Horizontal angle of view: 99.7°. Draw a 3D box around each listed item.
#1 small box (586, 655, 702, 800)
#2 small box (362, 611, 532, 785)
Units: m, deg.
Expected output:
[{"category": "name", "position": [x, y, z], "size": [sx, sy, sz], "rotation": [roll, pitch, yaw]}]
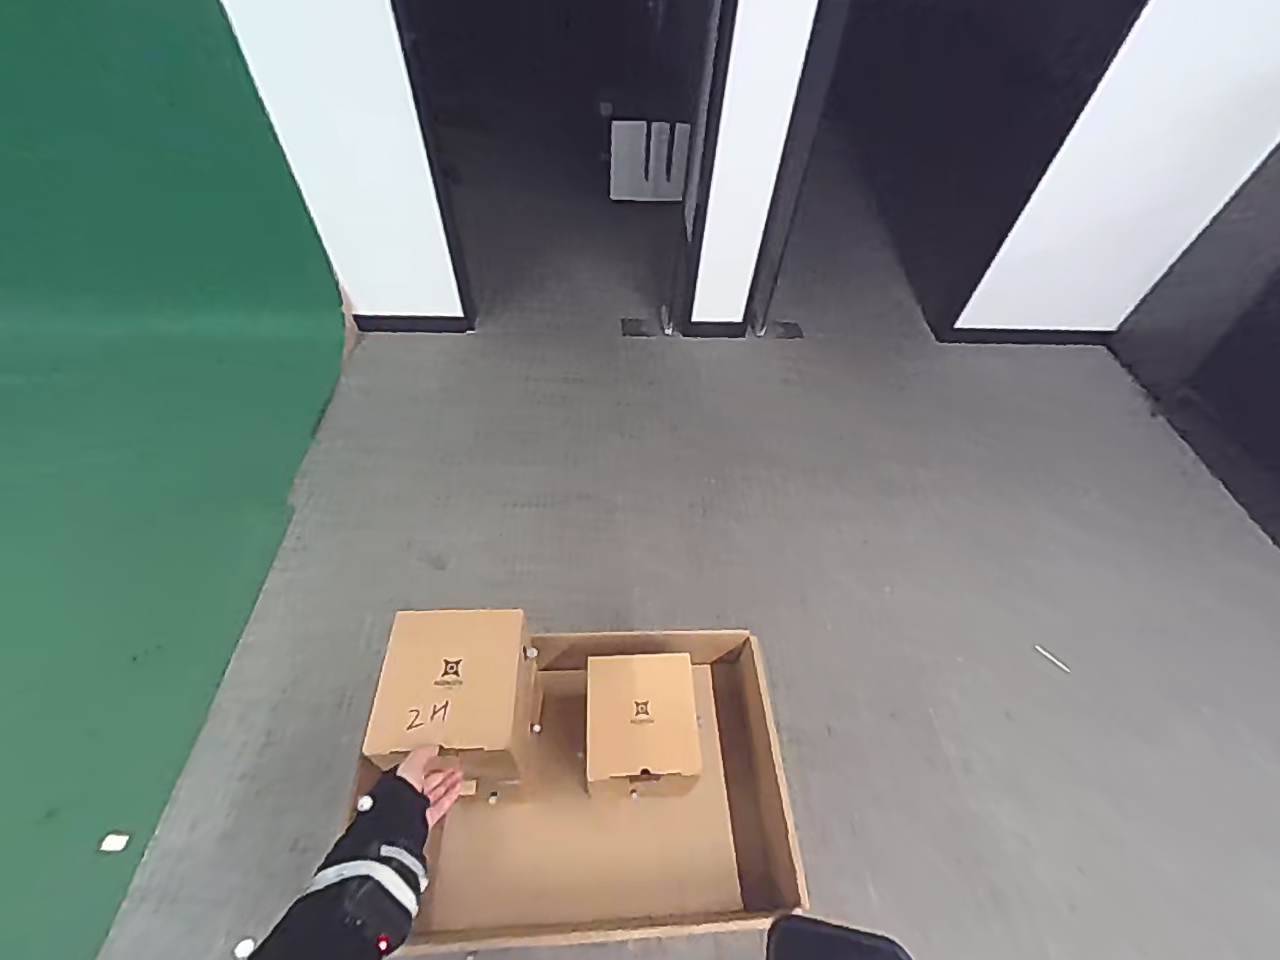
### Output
[{"category": "small box", "position": [-0.001, 0.398, 0.867], "size": [0.168, 0.176, 0.179], "rotation": [-1, 52, -3]}, {"category": "small box", "position": [-0.239, 0.293, 0.724], "size": [0.168, 0.176, 0.179], "rotation": [0, 51, -4]}]
